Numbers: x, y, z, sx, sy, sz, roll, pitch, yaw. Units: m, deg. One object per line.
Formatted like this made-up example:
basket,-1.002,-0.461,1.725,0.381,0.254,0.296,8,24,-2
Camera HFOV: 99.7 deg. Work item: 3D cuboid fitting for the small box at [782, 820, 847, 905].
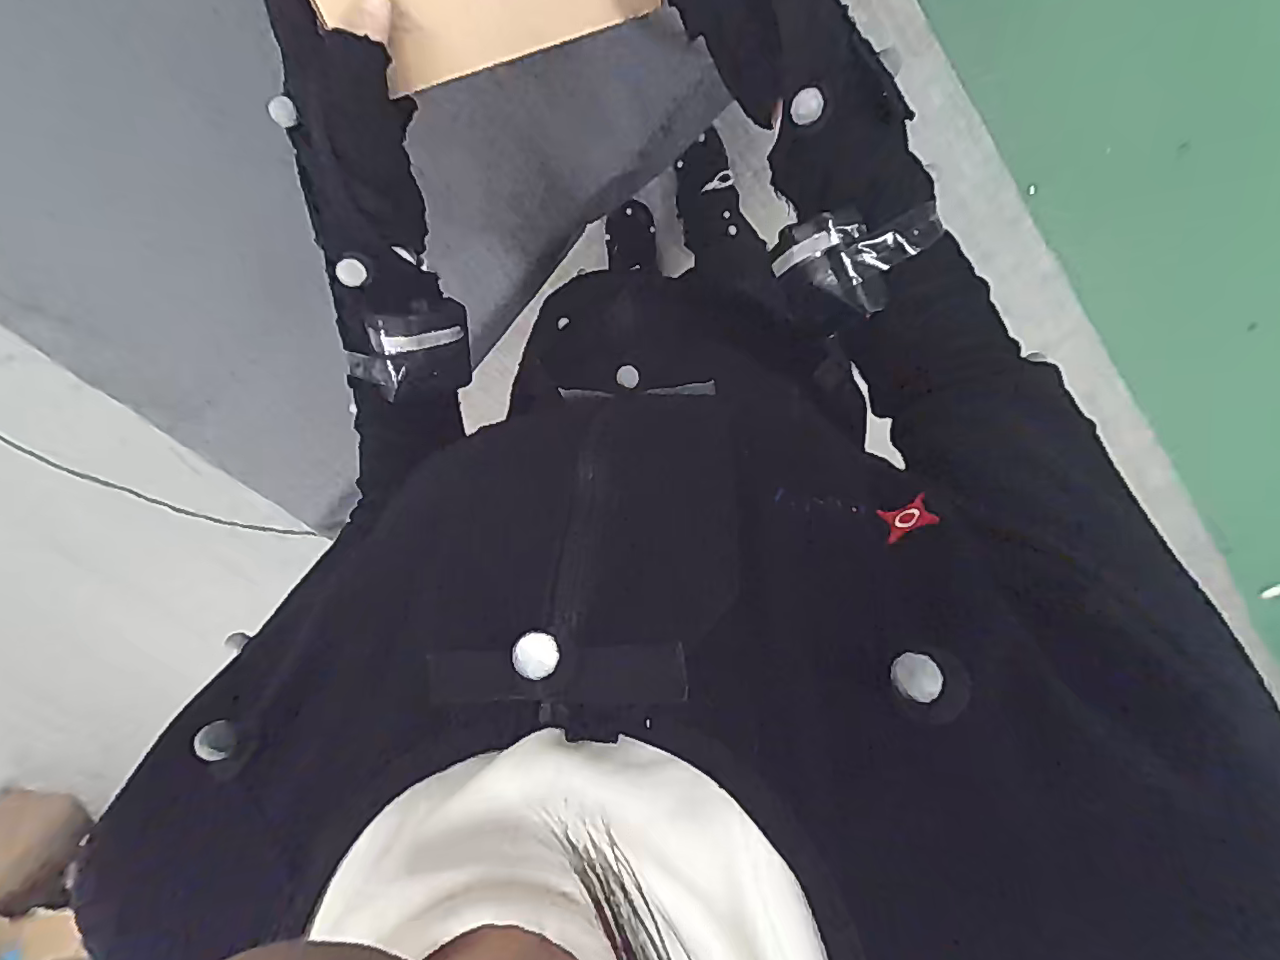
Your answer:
small box,0.576,1.265,1.791,0.168,0.176,0.179,-11,116,6
